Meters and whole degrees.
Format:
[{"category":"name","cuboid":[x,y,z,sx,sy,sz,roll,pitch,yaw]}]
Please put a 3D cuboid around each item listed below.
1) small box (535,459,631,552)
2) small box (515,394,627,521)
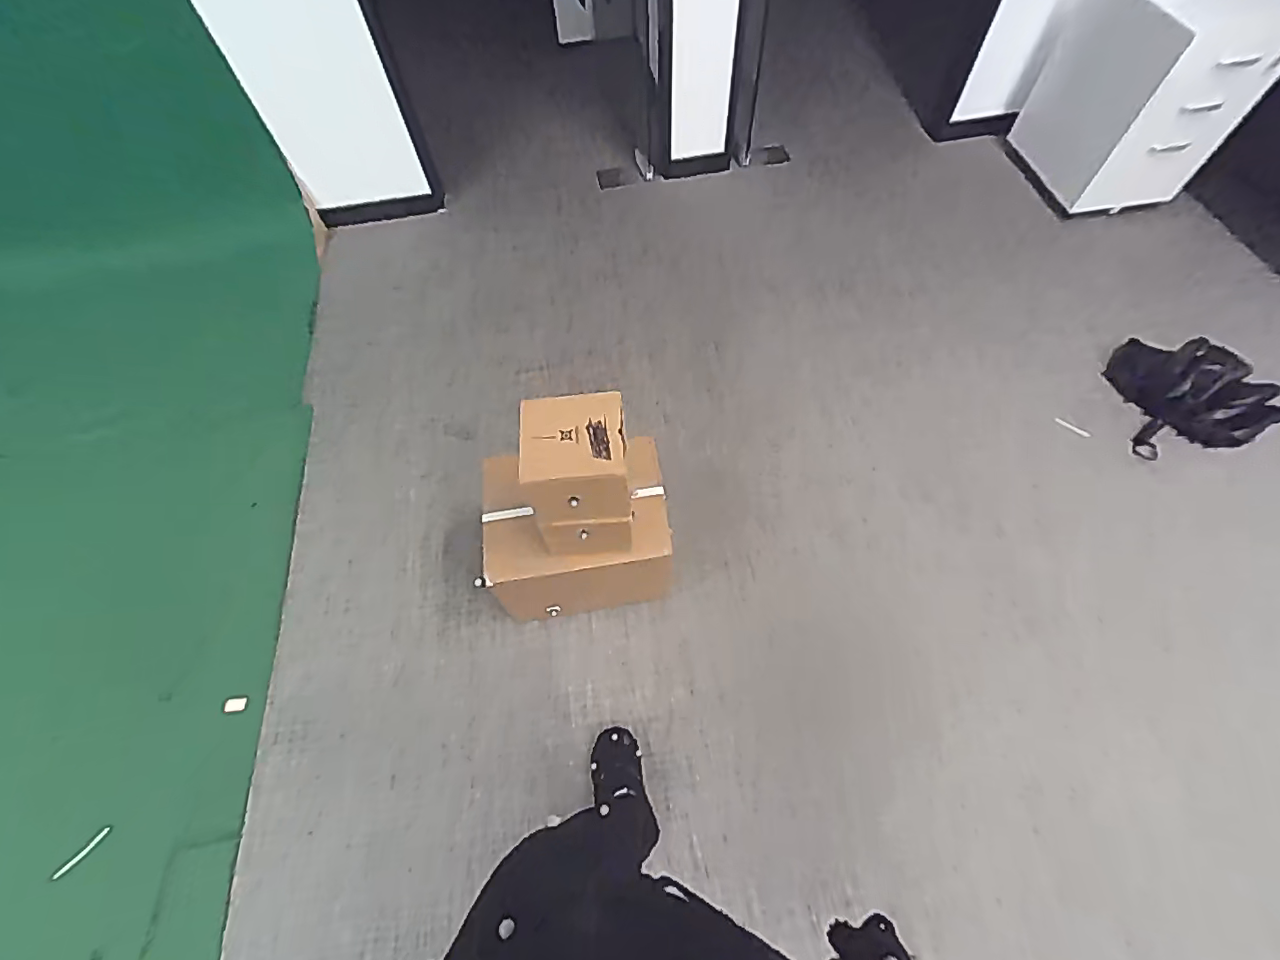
[{"category":"small box","cuboid":[-0.111,0.044,1.115,0.179,0.176,0.168,-3,63,-1]},{"category":"small box","cuboid":[-0.114,-0.035,0.972,0.179,0.176,0.168,-5,63,2]}]
